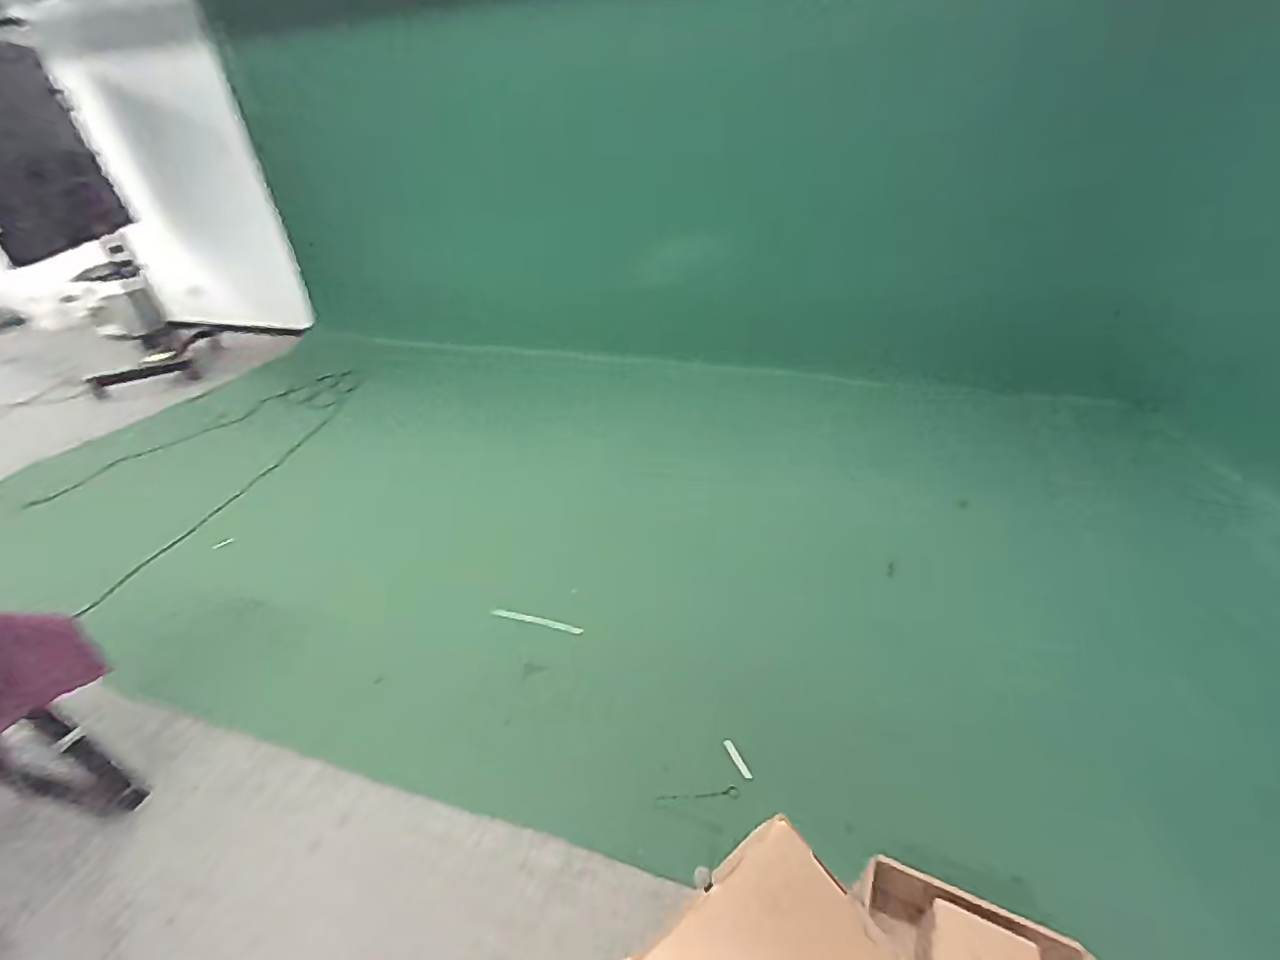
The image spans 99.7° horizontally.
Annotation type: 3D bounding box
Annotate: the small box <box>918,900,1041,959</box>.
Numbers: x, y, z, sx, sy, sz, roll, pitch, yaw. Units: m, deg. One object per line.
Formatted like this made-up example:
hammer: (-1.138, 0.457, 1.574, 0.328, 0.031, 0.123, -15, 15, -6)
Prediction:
small box: (0.636, 0.964, 1.031, 0.179, 0.176, 0.168, 15, 39, 24)
